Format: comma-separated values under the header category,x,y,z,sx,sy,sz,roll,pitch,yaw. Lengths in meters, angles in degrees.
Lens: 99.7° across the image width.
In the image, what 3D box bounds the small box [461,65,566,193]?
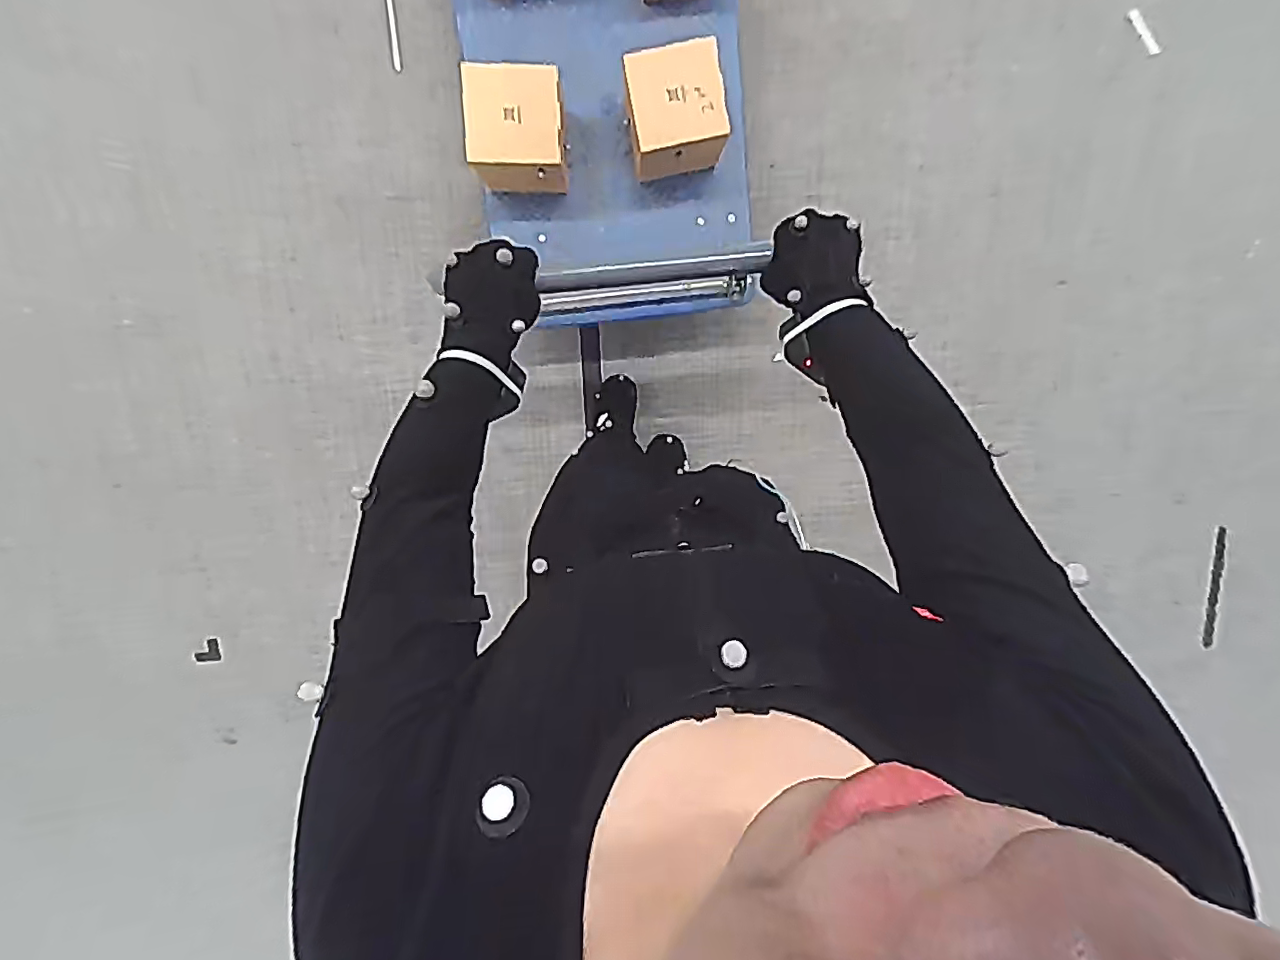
category,x,y,z,sx,sy,sz,roll,pitch,yaw
small box,-0.243,-0.686,1.076,0.179,0.176,0.168,-1,101,-4

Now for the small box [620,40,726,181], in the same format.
category,x,y,z,sx,sy,sz,roll,pitch,yaw
small box,0.061,-0.724,1.082,0.179,0.176,0.168,-12,102,0

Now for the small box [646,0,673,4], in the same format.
category,x,y,z,sx,sy,sz,roll,pitch,yaw
small box,0.071,-1.056,1.015,0.168,0.176,0.179,-10,103,-1
